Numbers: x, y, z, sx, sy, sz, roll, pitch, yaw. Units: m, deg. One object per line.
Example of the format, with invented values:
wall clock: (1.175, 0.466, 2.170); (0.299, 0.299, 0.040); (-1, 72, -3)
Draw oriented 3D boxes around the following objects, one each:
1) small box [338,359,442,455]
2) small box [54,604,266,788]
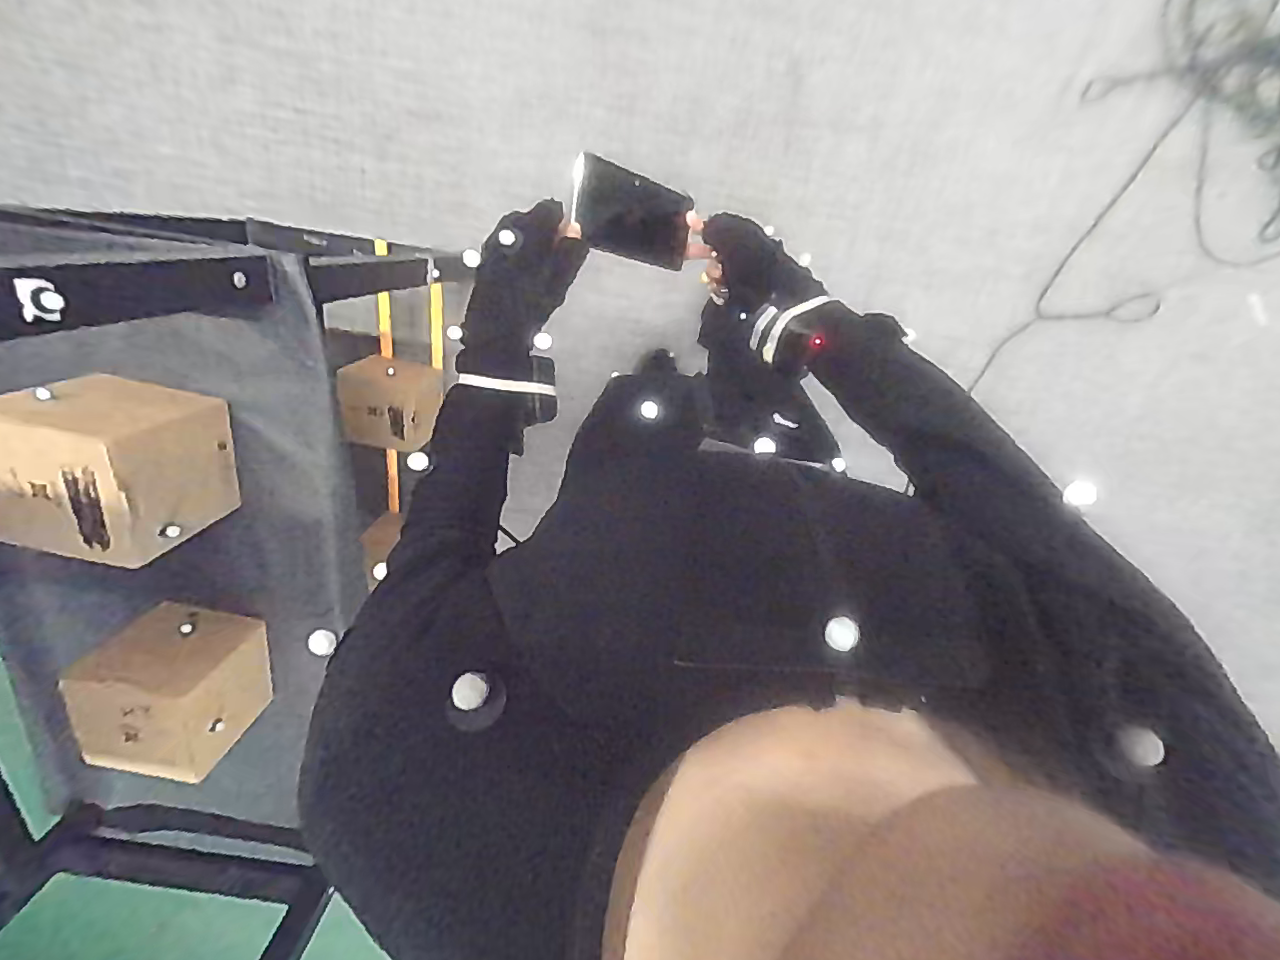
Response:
small box: (-0.583, -0.178, 1.277); (0.179, 0.176, 0.168); (12, 113, -3)
small box: (-0.703, 0.320, 0.819); (0.168, 0.176, 0.179); (12, 114, -2)
